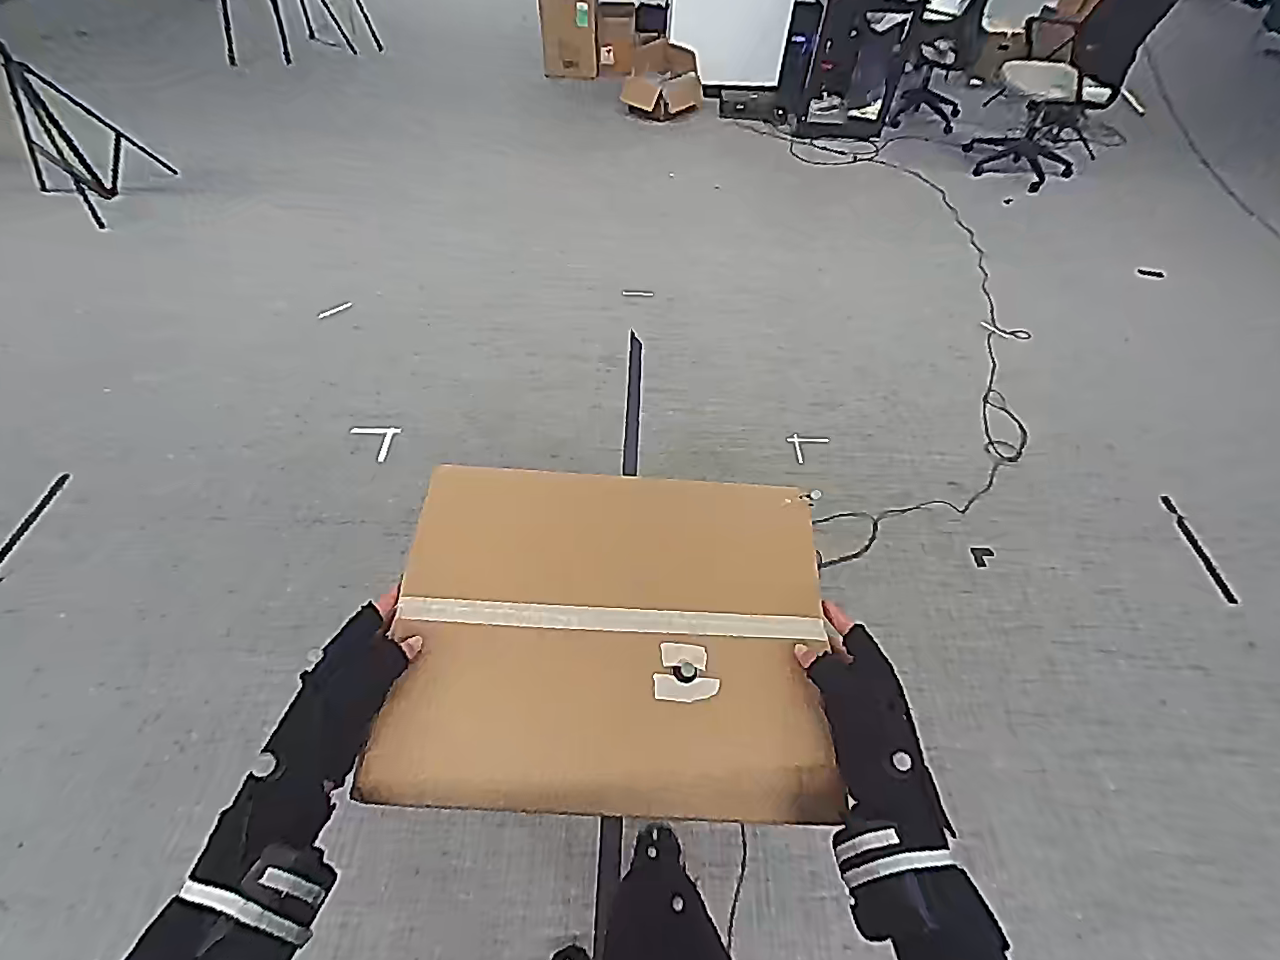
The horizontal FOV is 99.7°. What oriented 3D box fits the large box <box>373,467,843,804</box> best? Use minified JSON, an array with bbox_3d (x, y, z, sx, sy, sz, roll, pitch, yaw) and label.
[{"bbox_3d":[-0.030,0.203,0.652,0.408,0.320,0.320,4,61,-2],"label":"large box"}]
